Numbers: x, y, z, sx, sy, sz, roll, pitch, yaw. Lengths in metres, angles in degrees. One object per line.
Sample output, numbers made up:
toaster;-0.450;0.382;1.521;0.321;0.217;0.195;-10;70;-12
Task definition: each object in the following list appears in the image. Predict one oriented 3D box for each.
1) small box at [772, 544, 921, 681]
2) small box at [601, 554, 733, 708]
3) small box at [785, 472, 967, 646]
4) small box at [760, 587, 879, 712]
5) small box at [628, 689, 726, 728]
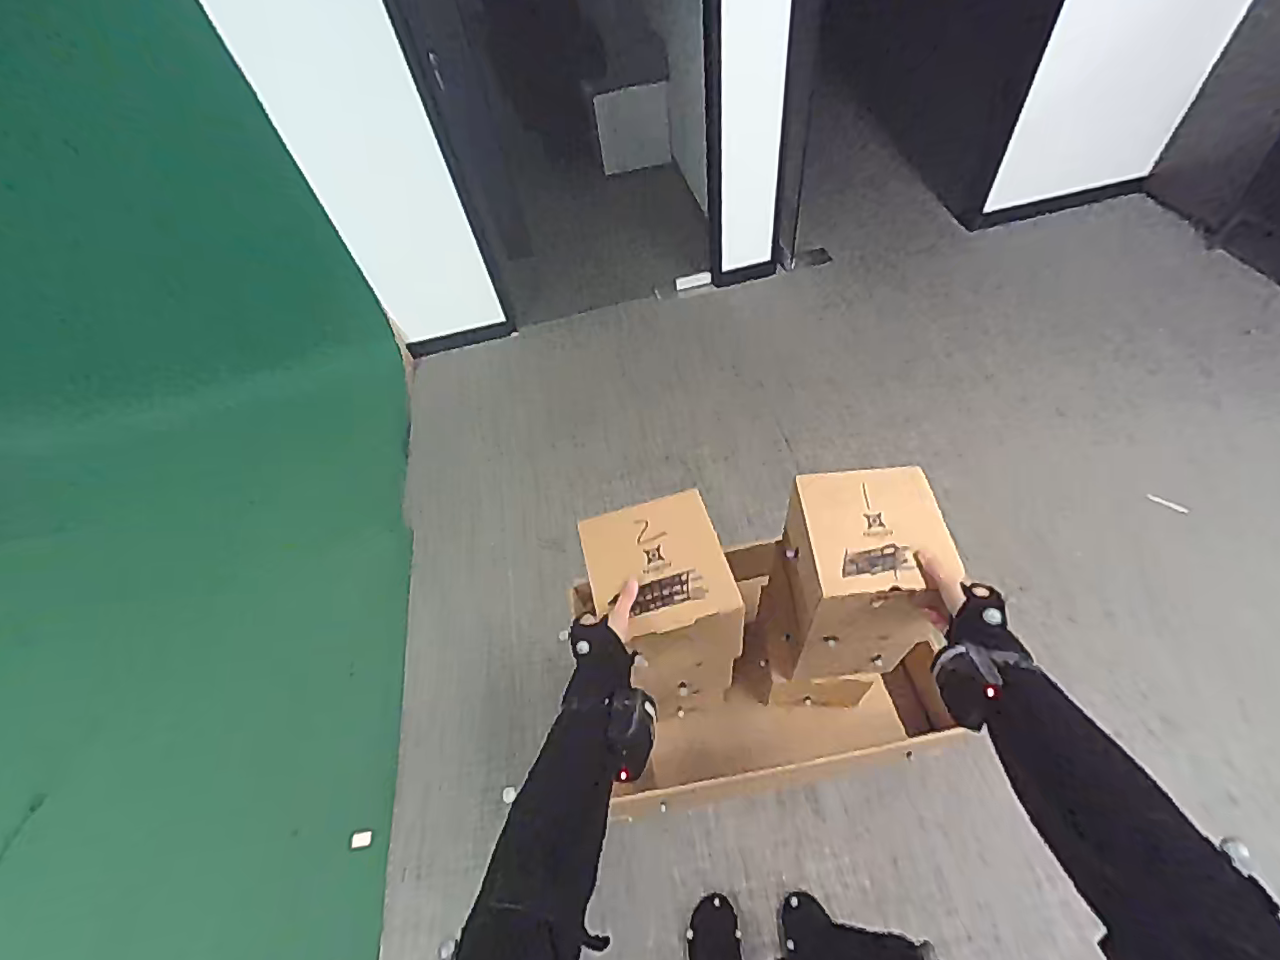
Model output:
small box;0.309;0.207;0.849;0.168;0.176;0.179;-7;54;3
small box;0.045;0.247;0.858;0.168;0.176;0.179;-14;54;-2
small box;0.293;0.112;0.716;0.168;0.176;0.179;-5;53;5
small box;0.312;0.307;0.979;0.168;0.176;0.179;-3;54;7
small box;0.054;0.333;0.998;0.168;0.176;0.179;-15;54;-1
